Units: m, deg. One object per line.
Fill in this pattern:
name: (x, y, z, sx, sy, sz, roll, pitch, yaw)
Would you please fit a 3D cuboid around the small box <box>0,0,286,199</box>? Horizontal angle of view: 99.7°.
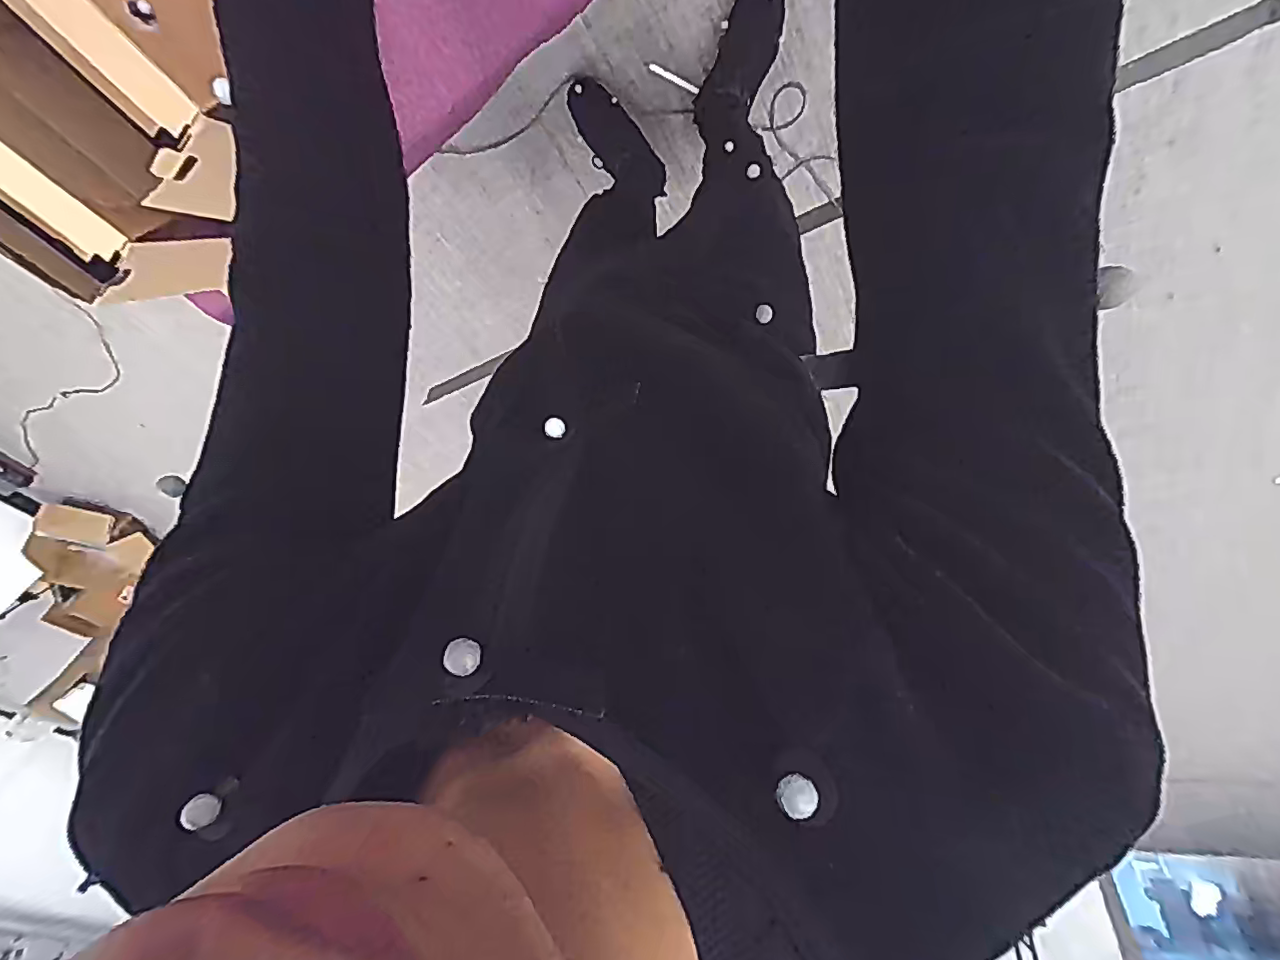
small box: (-0.527, -0.447, 0.570, 0.168, 0.176, 0.179, -20, 130, 30)
